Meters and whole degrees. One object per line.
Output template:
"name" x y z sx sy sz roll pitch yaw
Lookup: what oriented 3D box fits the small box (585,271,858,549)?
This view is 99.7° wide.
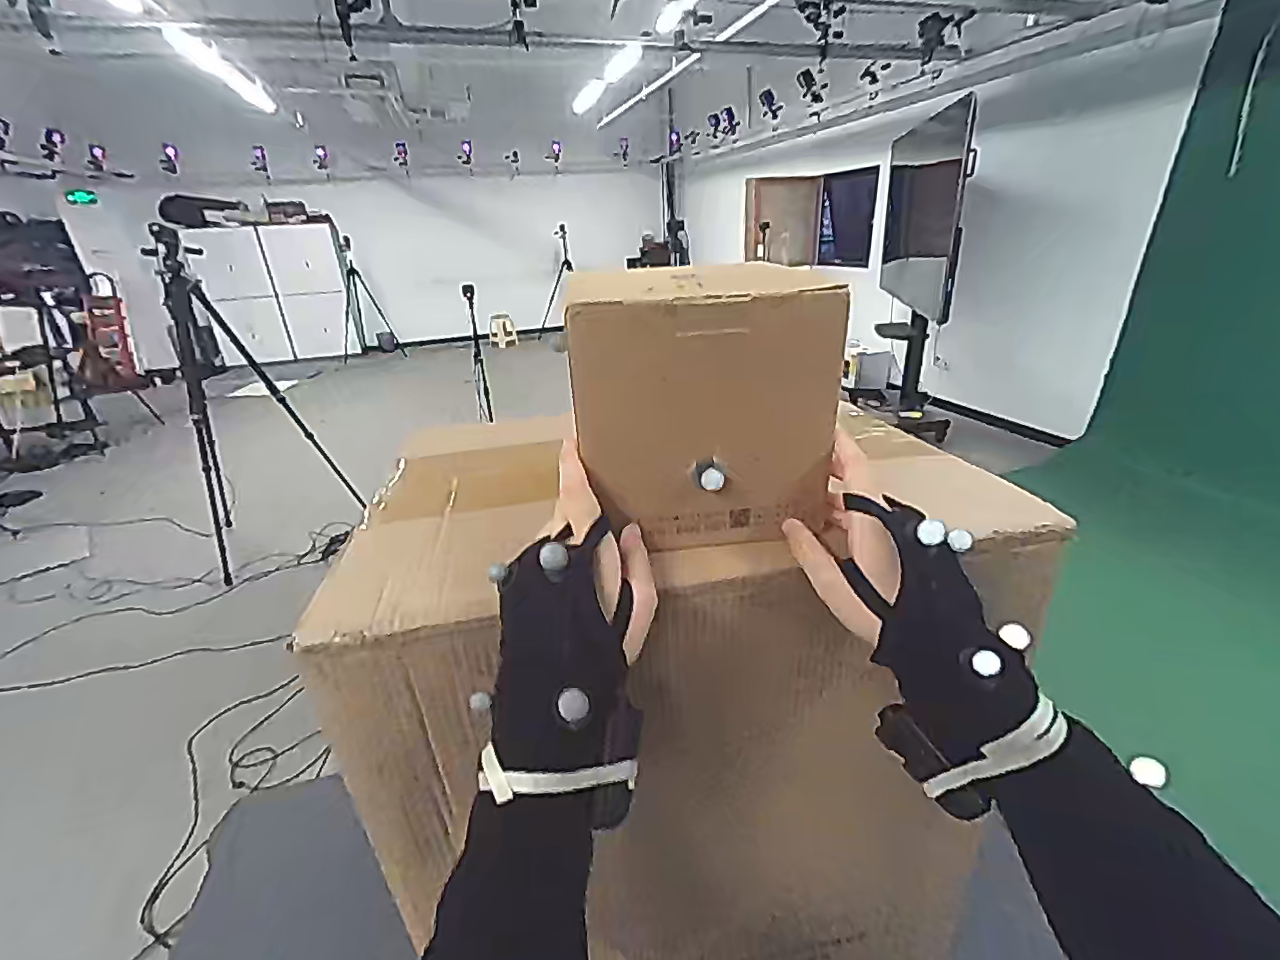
"small box" 0.044 -0.065 0.426 0.168 0.176 0.179 -5 27 -4
